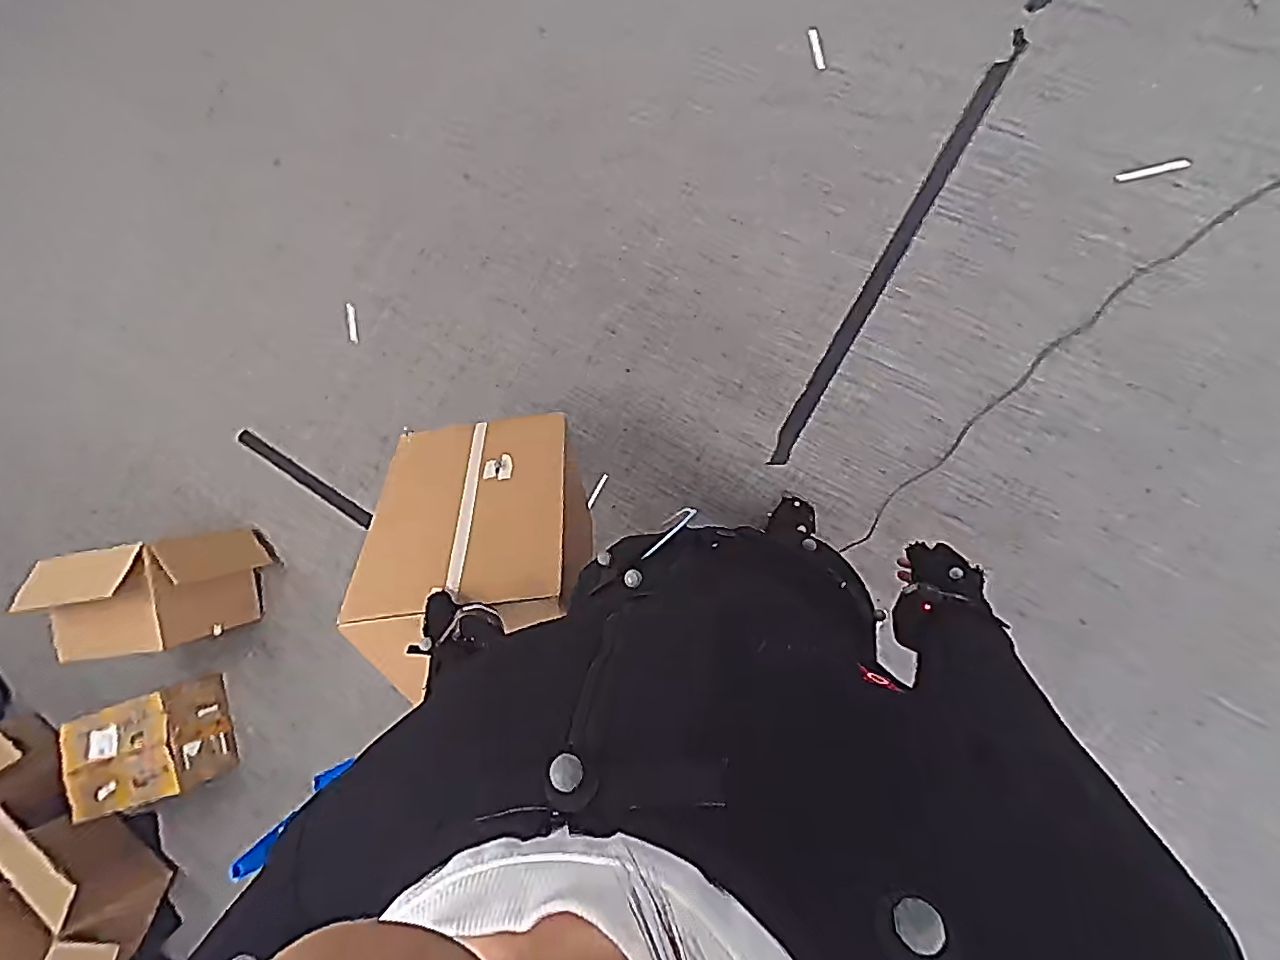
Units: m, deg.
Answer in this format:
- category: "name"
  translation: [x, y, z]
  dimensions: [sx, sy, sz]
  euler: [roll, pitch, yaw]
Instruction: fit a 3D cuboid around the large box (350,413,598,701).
- category: "large box"
  translation: [-0.259, 0.135, 0.997]
  dimensions: [0.320, 0.320, 0.408]
  euler: [-6, 45, 1]
